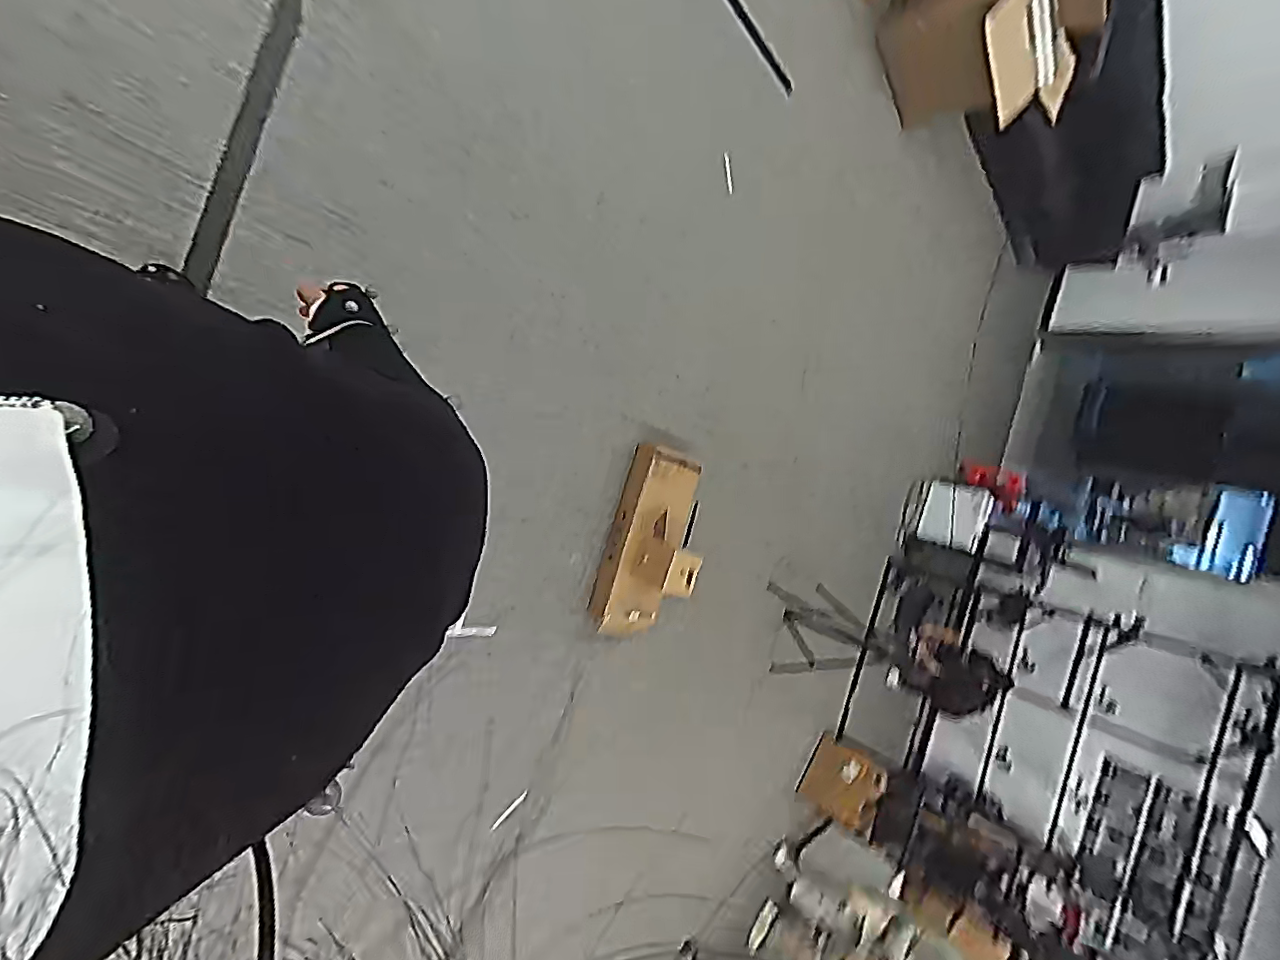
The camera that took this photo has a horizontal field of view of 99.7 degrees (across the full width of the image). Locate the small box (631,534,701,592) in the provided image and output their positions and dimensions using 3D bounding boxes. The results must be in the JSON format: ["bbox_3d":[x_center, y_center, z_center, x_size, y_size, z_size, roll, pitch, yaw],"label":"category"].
[{"bbox_3d":[0.098,0.317,2.079,0.179,0.176,0.168,23,85,-45],"label":"small box"}]
